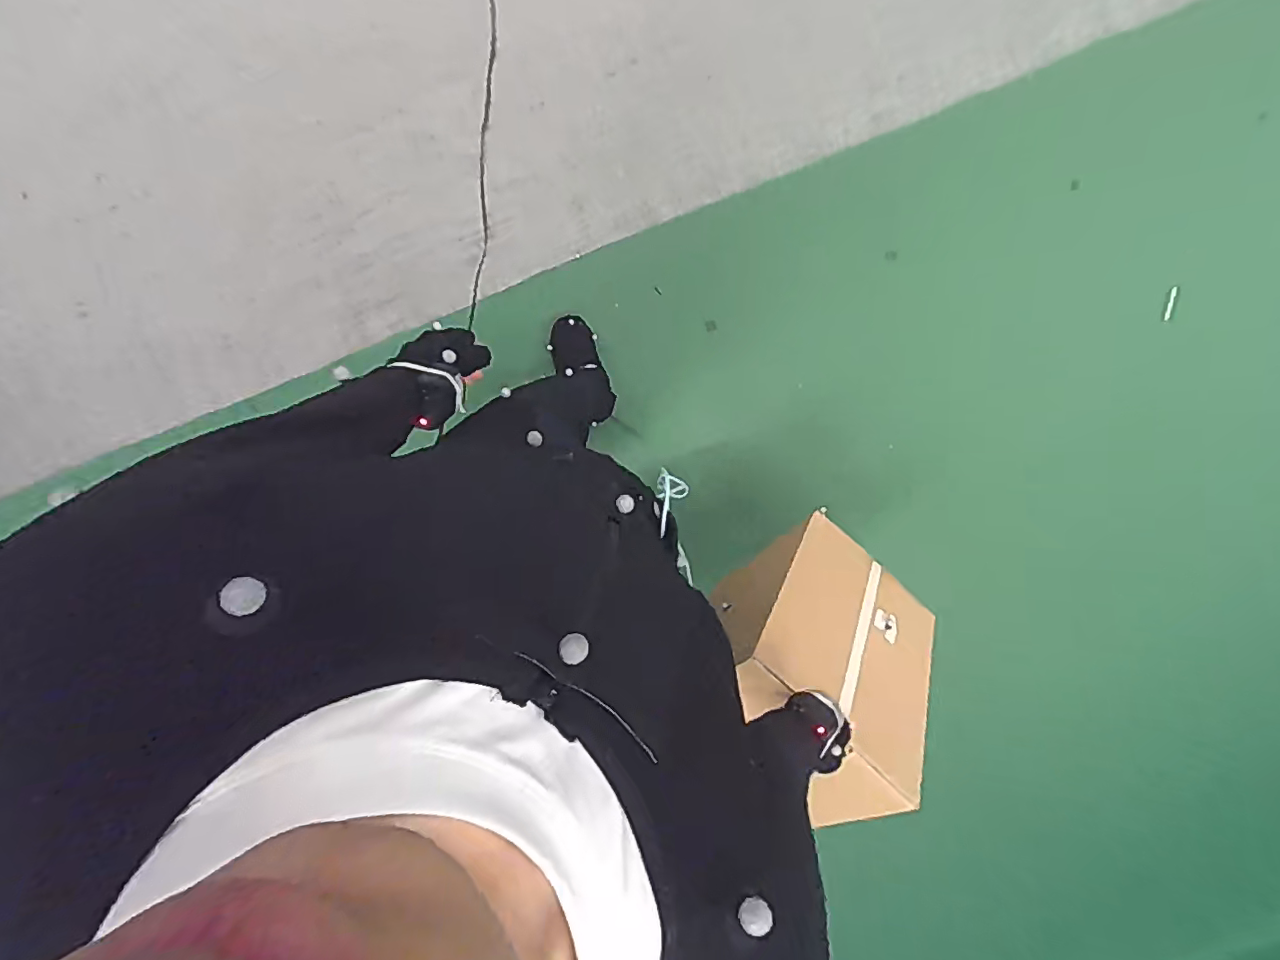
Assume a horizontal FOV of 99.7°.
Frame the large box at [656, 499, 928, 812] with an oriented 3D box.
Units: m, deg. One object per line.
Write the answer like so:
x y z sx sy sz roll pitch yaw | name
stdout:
0.293 0.317 1.013 0.320 0.408 0.320 43 131 0 | large box
